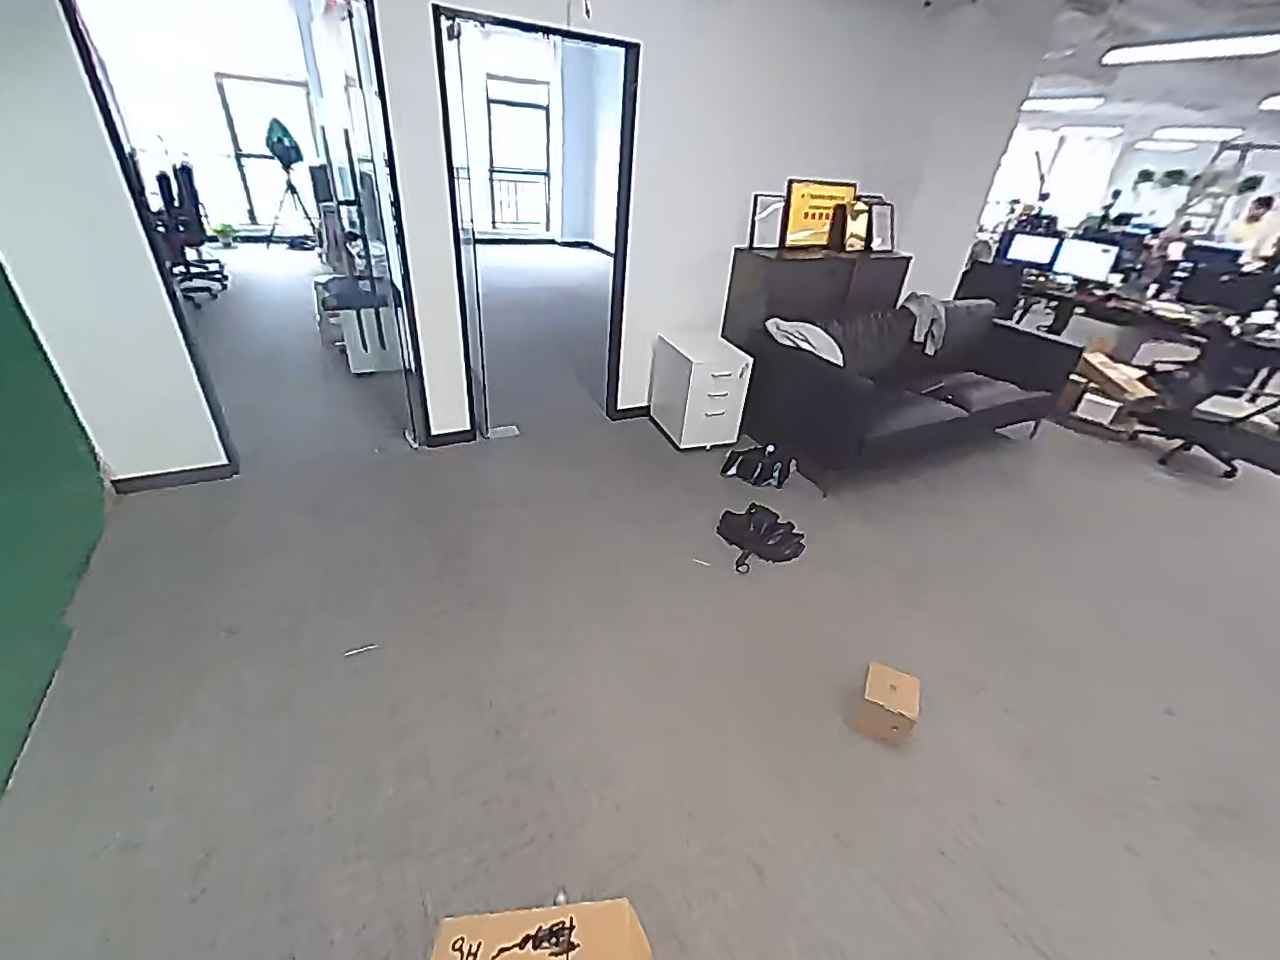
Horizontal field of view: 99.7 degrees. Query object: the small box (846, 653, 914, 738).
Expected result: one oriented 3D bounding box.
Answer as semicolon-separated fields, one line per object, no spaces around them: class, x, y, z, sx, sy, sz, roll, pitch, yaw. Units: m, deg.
small box;0.815;0.736;1.841;0.168;0.176;0.179;19;33;19
